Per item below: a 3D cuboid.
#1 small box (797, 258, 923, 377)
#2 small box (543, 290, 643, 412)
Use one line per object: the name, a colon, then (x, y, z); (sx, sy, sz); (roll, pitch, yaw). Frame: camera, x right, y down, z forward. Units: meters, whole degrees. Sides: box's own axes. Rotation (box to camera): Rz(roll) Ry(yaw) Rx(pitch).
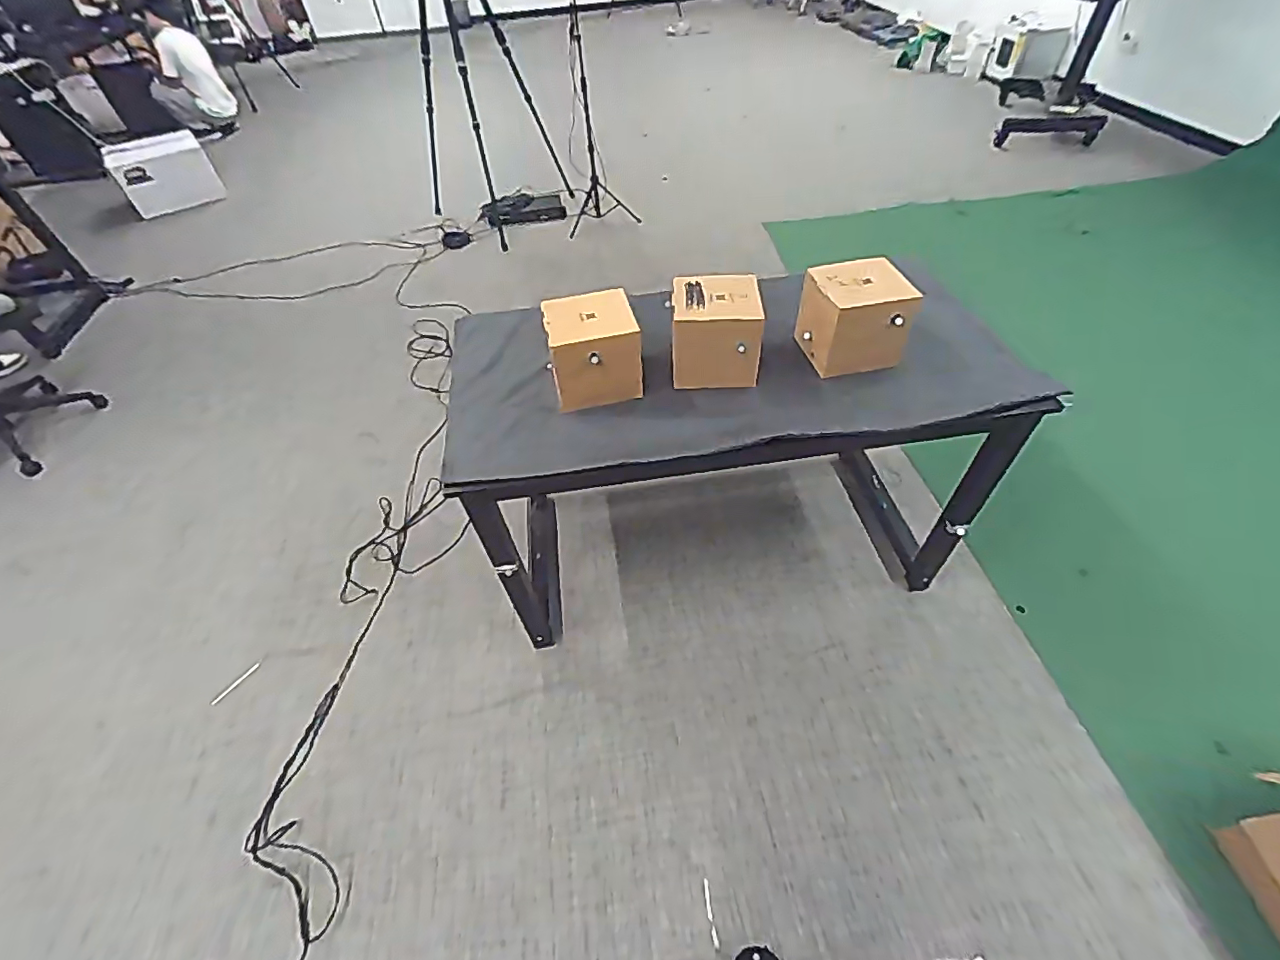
small box: (0.454, -0.342, 1.145); (0.179, 0.176, 0.168); (-10, 49, -4)
small box: (-0.093, -0.266, 1.127); (0.179, 0.176, 0.168); (-13, 49, -6)
